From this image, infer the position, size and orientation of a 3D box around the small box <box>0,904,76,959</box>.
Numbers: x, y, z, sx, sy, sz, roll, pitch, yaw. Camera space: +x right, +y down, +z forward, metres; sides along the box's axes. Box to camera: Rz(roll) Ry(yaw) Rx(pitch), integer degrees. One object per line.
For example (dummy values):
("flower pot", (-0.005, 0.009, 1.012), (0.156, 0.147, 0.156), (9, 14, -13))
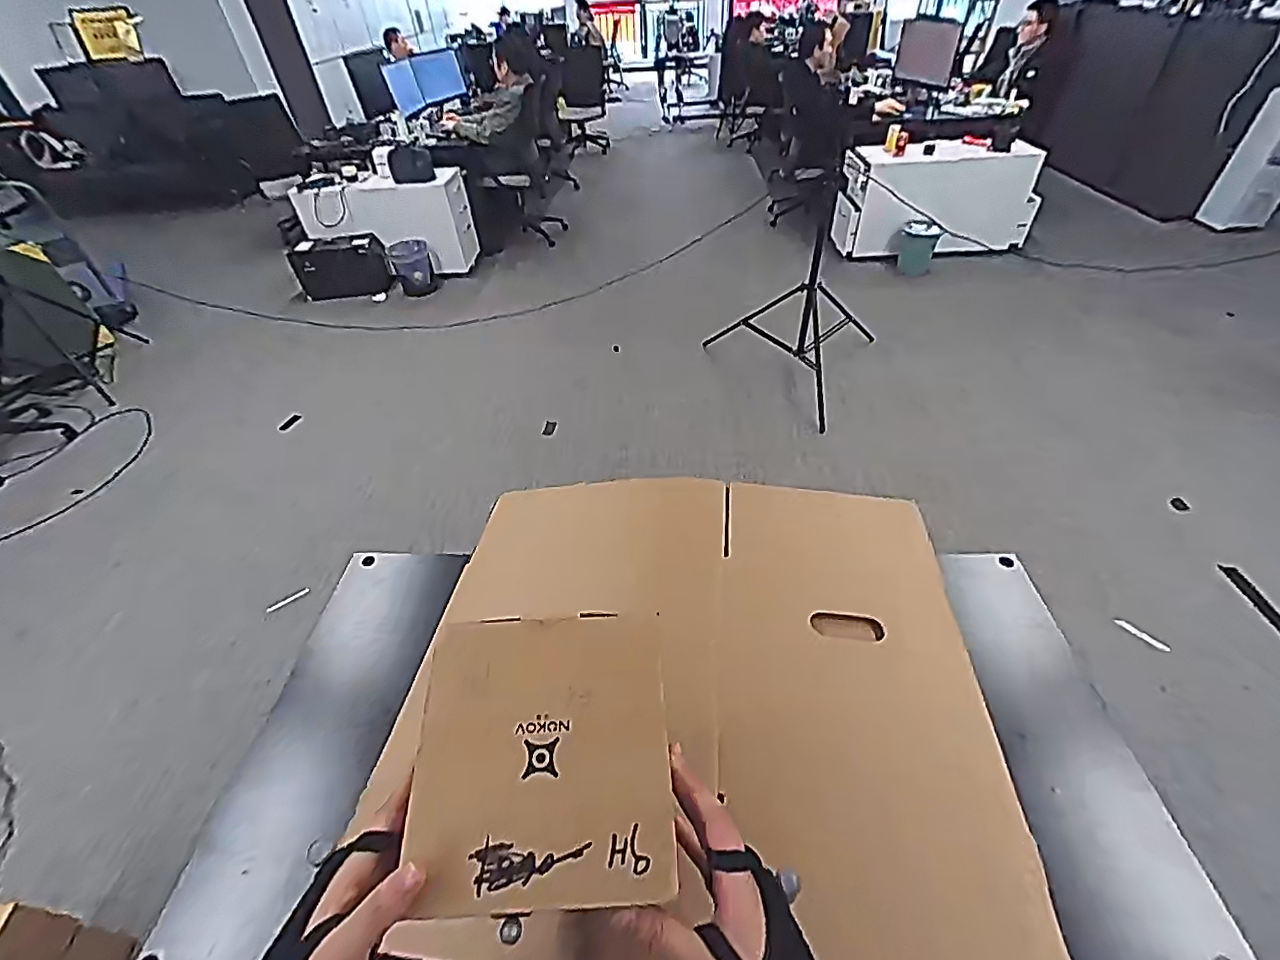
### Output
("small box", (-1.207, 0.901, 0.979), (0.168, 0.176, 0.179), (-5, 42, -2))

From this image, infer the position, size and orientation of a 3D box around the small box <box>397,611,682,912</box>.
("small box", (-0.058, 0.220, 0.420), (0.168, 0.176, 0.179), (-4, 53, 0))

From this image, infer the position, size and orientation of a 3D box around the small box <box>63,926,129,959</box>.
("small box", (-1.197, 1.024, 1.085), (0.168, 0.176, 0.179), (-4, 44, 1))
